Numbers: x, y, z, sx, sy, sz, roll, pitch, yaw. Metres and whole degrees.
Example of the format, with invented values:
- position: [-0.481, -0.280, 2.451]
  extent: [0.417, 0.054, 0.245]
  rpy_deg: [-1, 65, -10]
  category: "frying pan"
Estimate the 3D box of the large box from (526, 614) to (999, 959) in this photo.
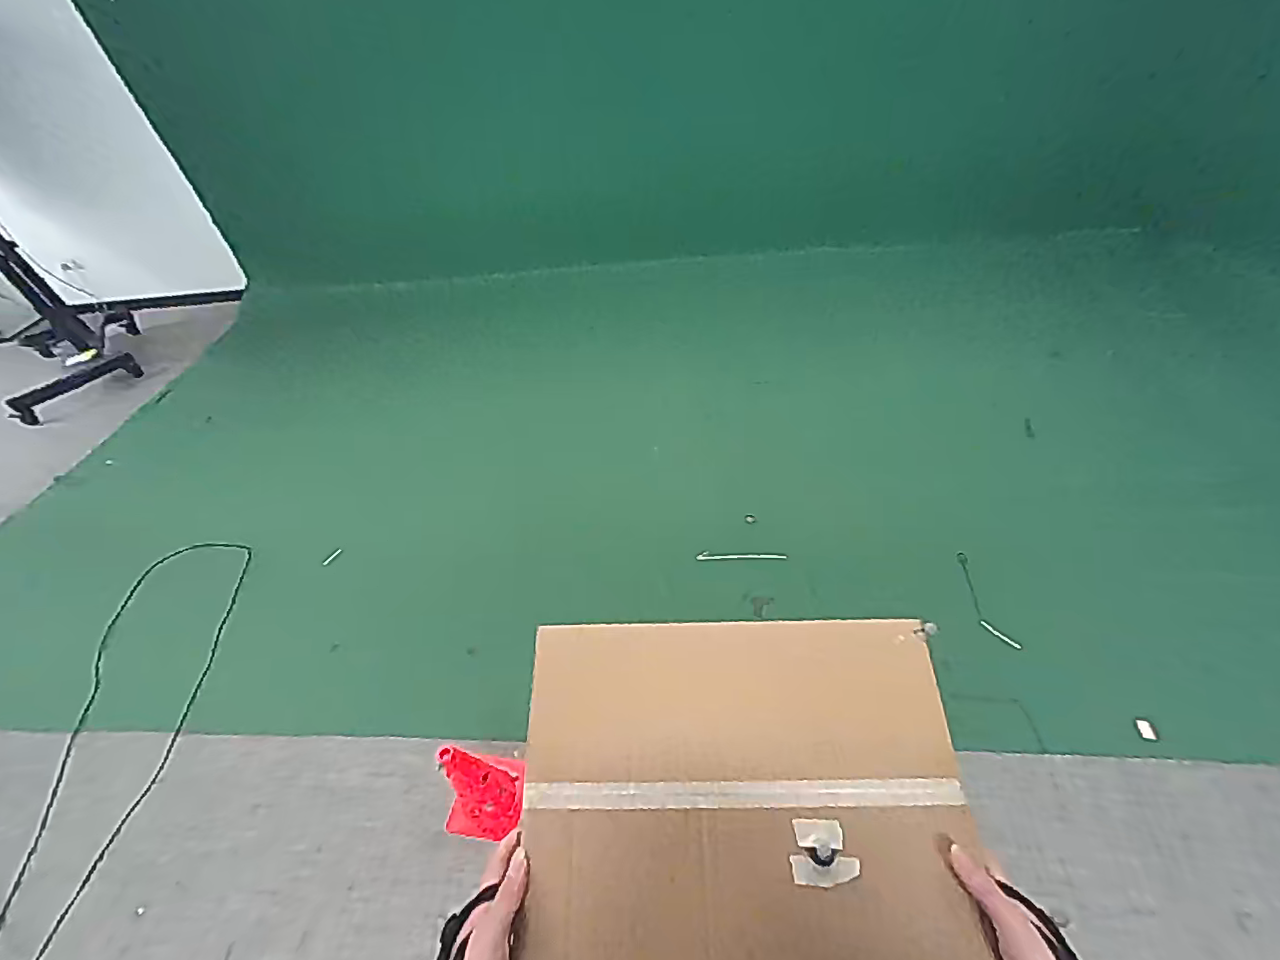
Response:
- position: [0.100, 0.358, 0.644]
  extent: [0.408, 0.320, 0.320]
  rpy_deg: [-2, 63, 1]
  category: "large box"

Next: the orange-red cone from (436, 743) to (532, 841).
- position: [-0.435, 0.751, 1.370]
  extent: [0.199, 0.360, 0.198]
  rpy_deg: [2, 46, 13]
  category: "orange-red cone"
